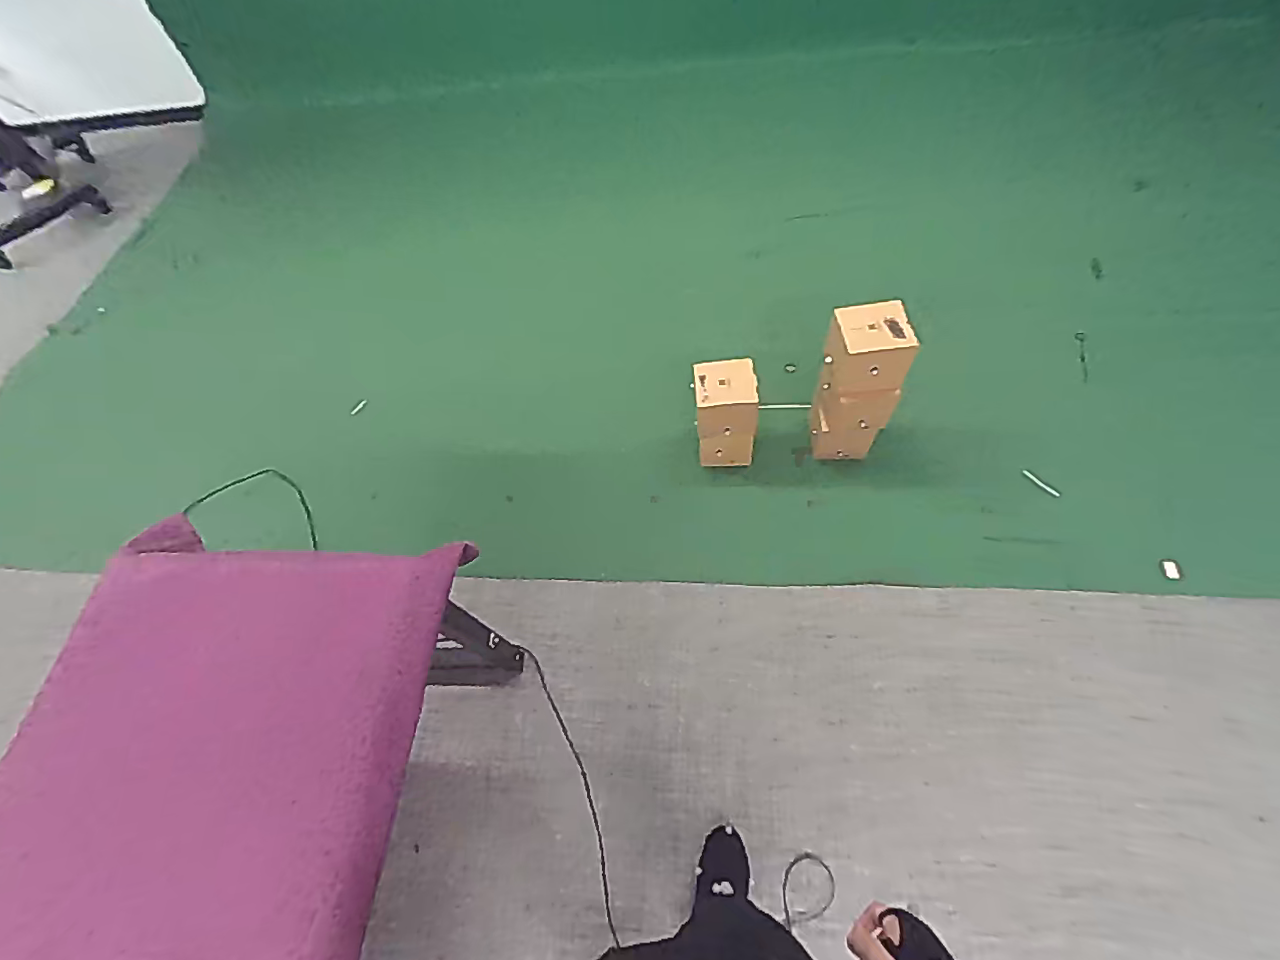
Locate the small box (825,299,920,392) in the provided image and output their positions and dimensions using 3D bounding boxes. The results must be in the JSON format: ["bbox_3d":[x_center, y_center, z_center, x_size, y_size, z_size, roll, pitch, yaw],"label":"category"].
[{"bbox_3d":[0.617,-0.358,1.455,0.179,0.176,0.168,-7,60,5],"label":"small box"}]

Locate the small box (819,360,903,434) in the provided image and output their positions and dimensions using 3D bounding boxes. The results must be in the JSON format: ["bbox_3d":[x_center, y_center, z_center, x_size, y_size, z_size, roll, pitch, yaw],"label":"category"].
[{"bbox_3d":[0.639,-0.261,1.589,0.168,0.176,0.179,-9,60,4],"label":"small box"}]

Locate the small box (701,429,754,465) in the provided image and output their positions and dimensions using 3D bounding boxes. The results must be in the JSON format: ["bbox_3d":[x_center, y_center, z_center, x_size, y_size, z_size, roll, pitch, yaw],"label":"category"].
[{"bbox_3d":[0.286,-0.159,1.773,0.168,0.176,0.179,-2,59,8],"label":"small box"}]

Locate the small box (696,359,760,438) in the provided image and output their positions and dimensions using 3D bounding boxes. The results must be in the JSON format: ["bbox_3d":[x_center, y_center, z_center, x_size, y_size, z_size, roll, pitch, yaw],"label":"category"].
[{"bbox_3d":[0.261,-0.242,1.633,0.179,0.176,0.168,-4,59,6],"label":"small box"}]
